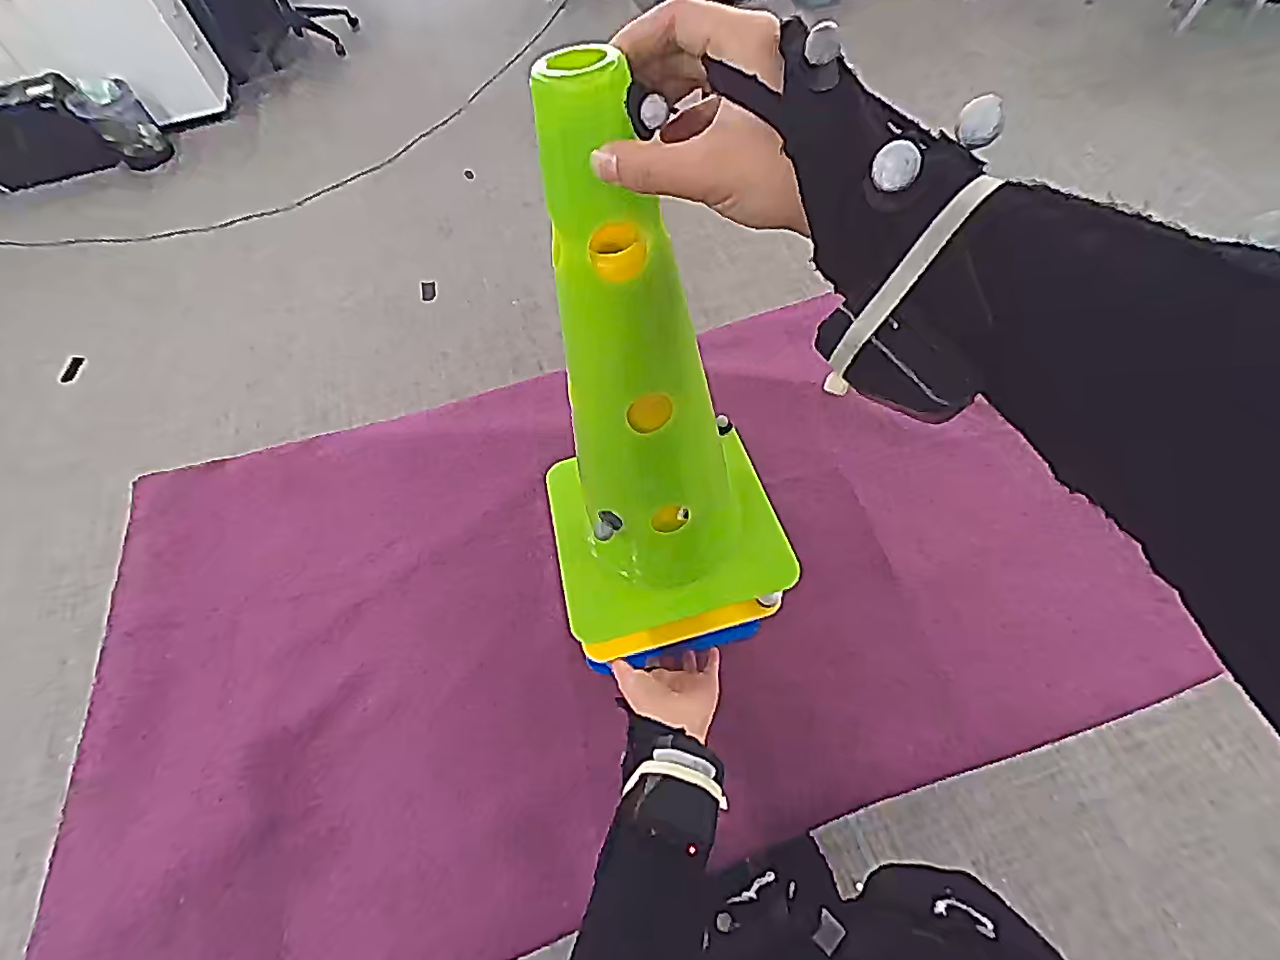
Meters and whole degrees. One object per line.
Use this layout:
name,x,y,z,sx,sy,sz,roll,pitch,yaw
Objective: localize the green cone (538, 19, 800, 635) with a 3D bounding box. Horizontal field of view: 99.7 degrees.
green cone,-0.003,-0.071,0.358,0.200,0.368,0.202,-16,54,-2
